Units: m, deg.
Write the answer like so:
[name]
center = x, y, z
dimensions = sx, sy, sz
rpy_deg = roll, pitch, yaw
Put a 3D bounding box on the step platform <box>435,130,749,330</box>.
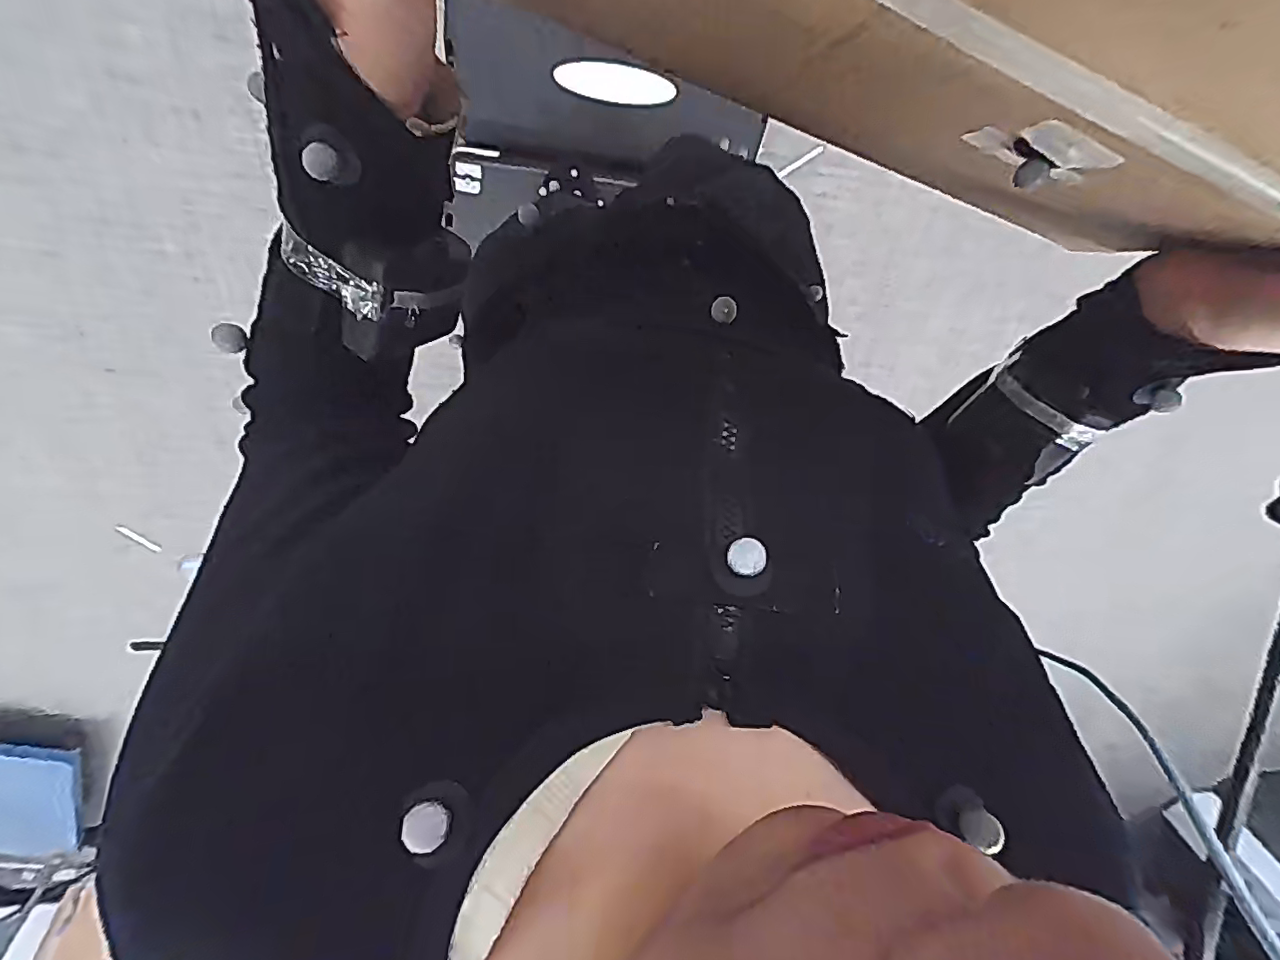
[step platform]
center = -0.103, -0.553, 1.232
dimensions = 0.684, 0.204, 0.286
rpy_deg = 8, 123, -12
